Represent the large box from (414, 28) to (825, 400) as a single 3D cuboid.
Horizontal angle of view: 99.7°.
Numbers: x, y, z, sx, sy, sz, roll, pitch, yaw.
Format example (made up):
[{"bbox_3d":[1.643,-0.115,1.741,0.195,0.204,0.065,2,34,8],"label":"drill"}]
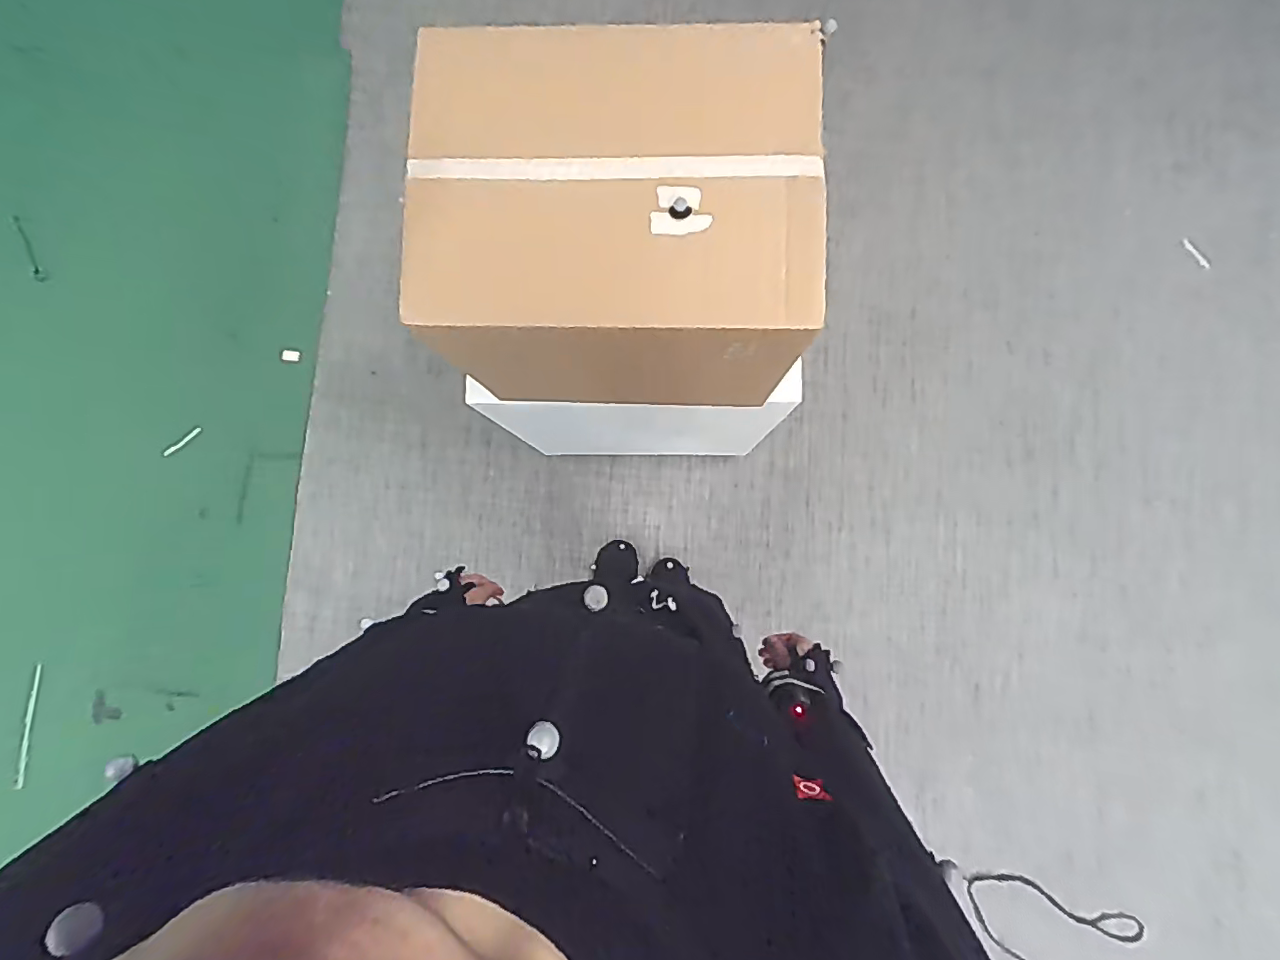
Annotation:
[{"bbox_3d":[-0.019,-0.289,0.680,0.408,0.320,0.320,1,85,1],"label":"large box"}]
